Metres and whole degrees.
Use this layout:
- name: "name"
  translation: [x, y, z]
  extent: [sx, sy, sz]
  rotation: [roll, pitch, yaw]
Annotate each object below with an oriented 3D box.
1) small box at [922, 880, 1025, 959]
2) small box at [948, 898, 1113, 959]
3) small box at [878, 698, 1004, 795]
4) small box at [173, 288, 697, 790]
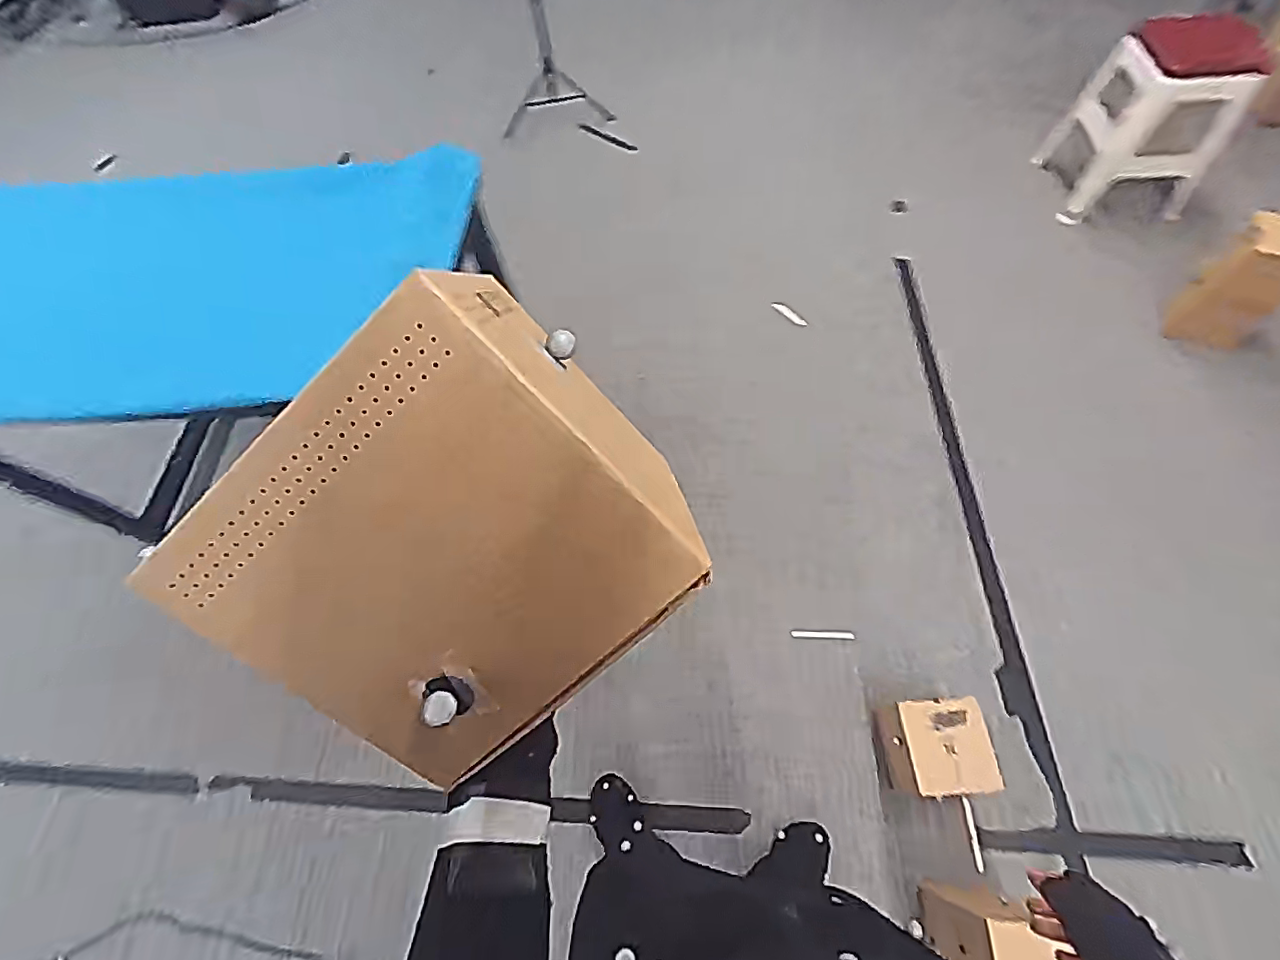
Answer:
- name: "small box"
  translation: [0.654, 0.889, 1.019]
  extent: [0.168, 0.176, 0.179]
  rotation: [3, 64, 7]
- name: "small box"
  translation: [0.636, 0.806, 0.879]
  extent: [0.179, 0.176, 0.168]
  rotation: [2, 62, 8]
- name: "small box"
  translation: [0.641, 0.580, 1.178]
  extent: [0.168, 0.176, 0.179]
  rotation: [-5, 63, 3]
- name: "small box"
  translation: [-0.100, 0.019, 0.306]
  extent: [0.179, 0.168, 0.176]
  rotation: [-43, 109, 8]
